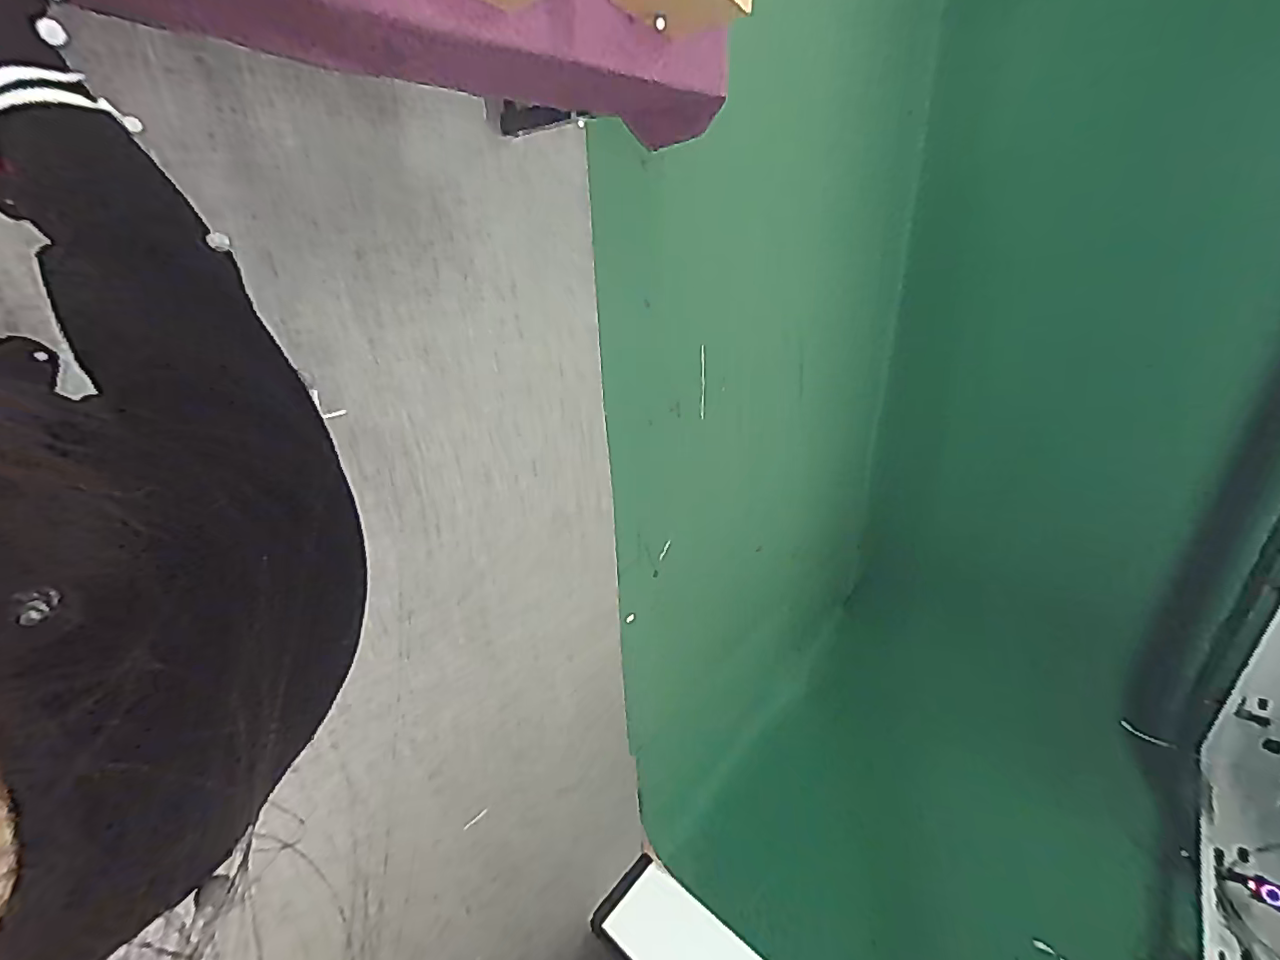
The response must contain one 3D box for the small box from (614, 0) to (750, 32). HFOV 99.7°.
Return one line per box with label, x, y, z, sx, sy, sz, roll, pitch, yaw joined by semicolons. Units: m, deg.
small box;0.068;-0.858;0.865;0.179;0.176;0.168;-18;118;-46
